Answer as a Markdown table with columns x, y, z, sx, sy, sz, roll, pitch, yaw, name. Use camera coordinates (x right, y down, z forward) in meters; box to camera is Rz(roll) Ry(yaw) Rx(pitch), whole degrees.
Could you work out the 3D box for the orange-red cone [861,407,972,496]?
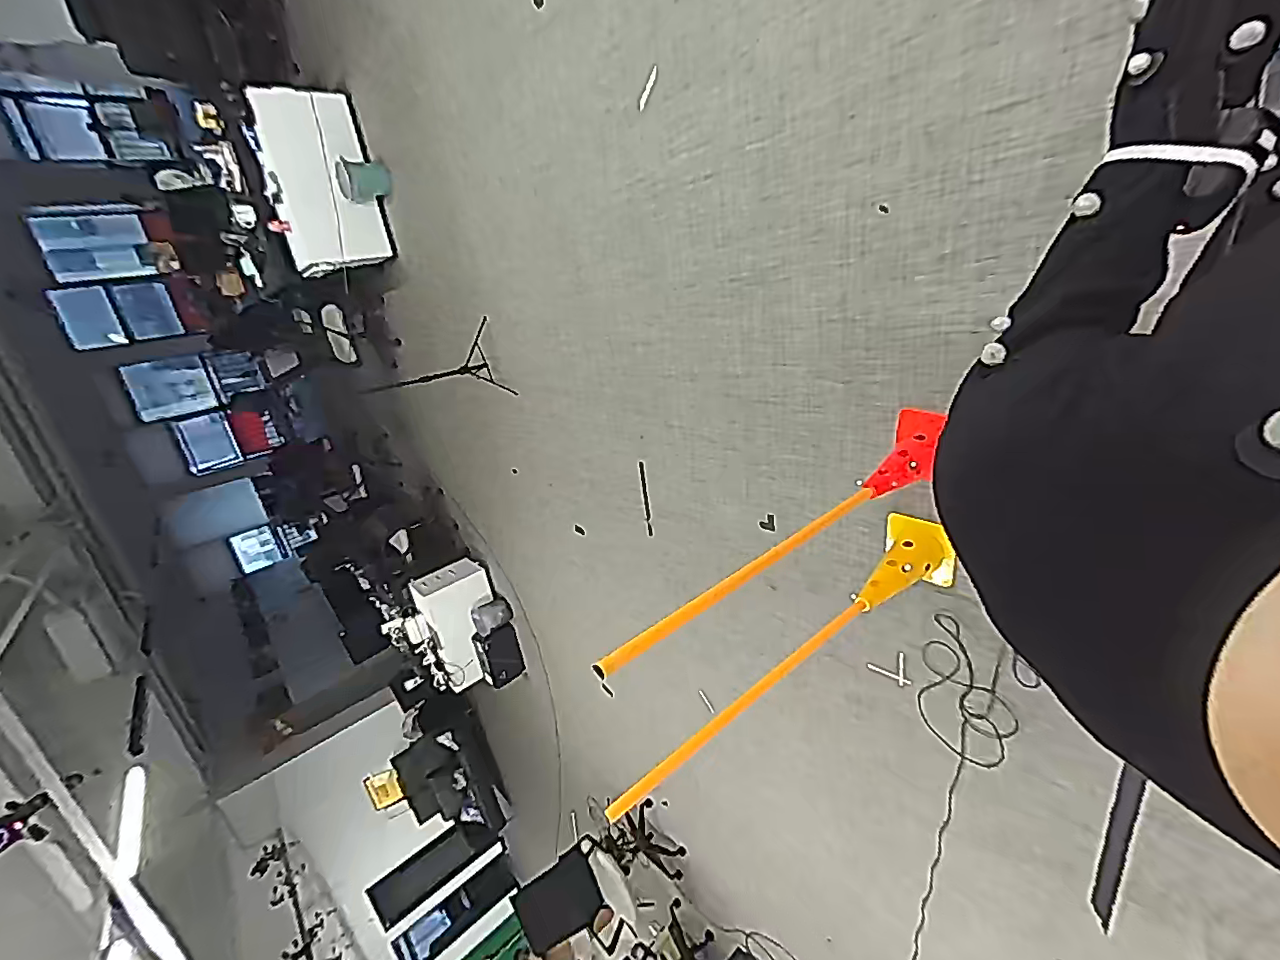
| x | y | z | sx | sy | sz | roll | pitch | yaw | name |
| --- | --- | --- | --- | --- | --- | --- | --- | --- | --- |
| 0.671 | -0.039 | 1.393 | 0.198 | 0.360 | 0.199 | 23 | 126 | 43 | orange-red cone |
